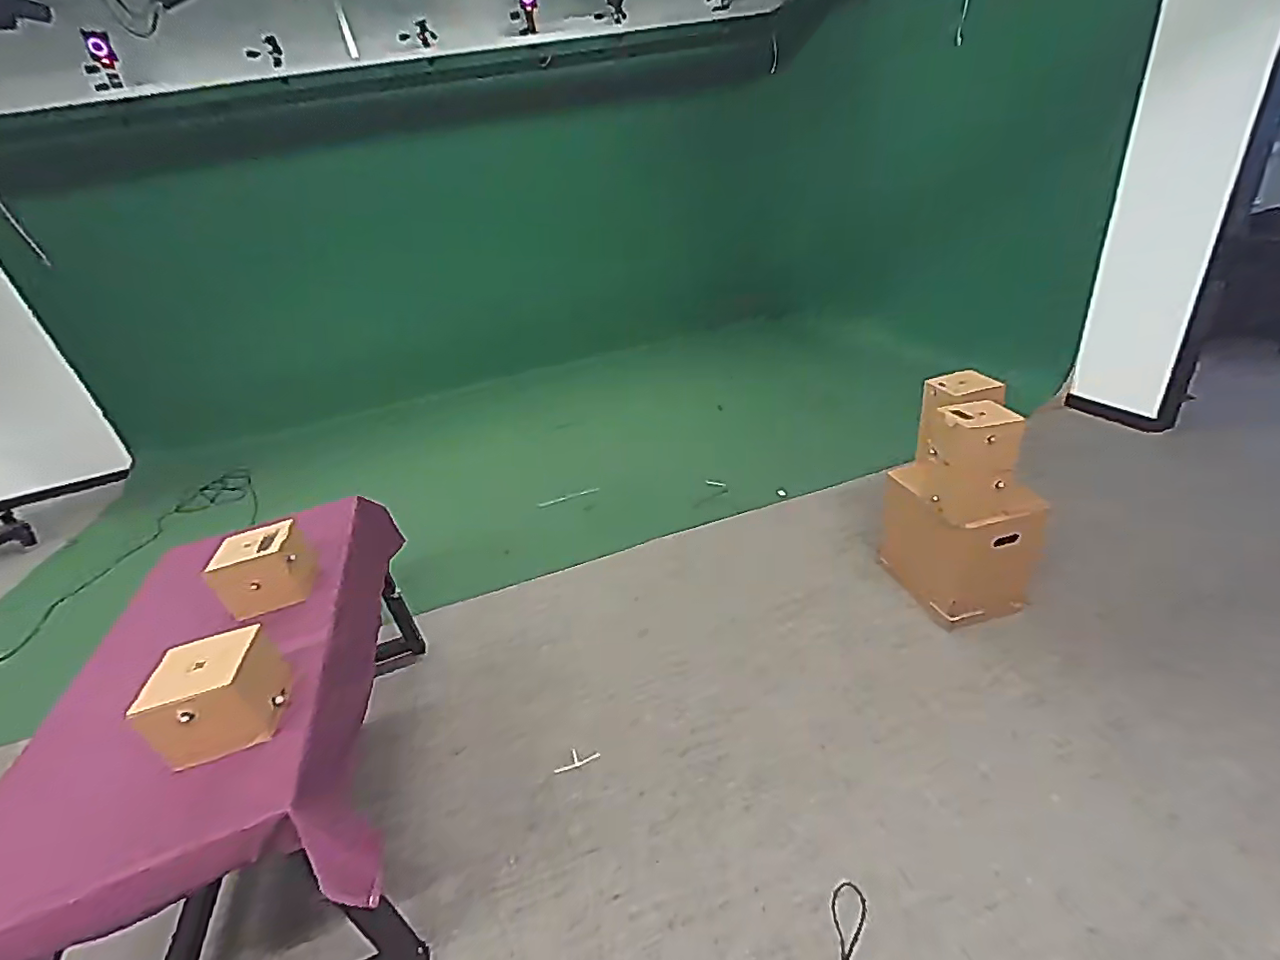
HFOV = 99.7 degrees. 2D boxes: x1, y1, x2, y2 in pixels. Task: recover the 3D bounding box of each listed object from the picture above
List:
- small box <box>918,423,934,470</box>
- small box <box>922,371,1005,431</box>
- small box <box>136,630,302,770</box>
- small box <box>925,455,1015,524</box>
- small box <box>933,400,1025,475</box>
[{"bbox_3d":[1.125,-0.116,1.932,0.168,0.176,0.179,-14,30,-6],"label":"small box"},{"bbox_3d":[1.096,-0.255,1.847,0.179,0.176,0.168,-12,29,-3],"label":"small box"},{"bbox_3d":[-0.819,0.438,1.076,0.179,0.176,0.168,-15,30,-8],"label":"small box"},{"bbox_3d":[1.042,0.017,1.725,0.179,0.176,0.168,-12,28,-5],"label":"small box"},{"bbox_3d":[1.020,-0.127,1.647,0.179,0.176,0.168,-9,29,-2],"label":"small box"}]
